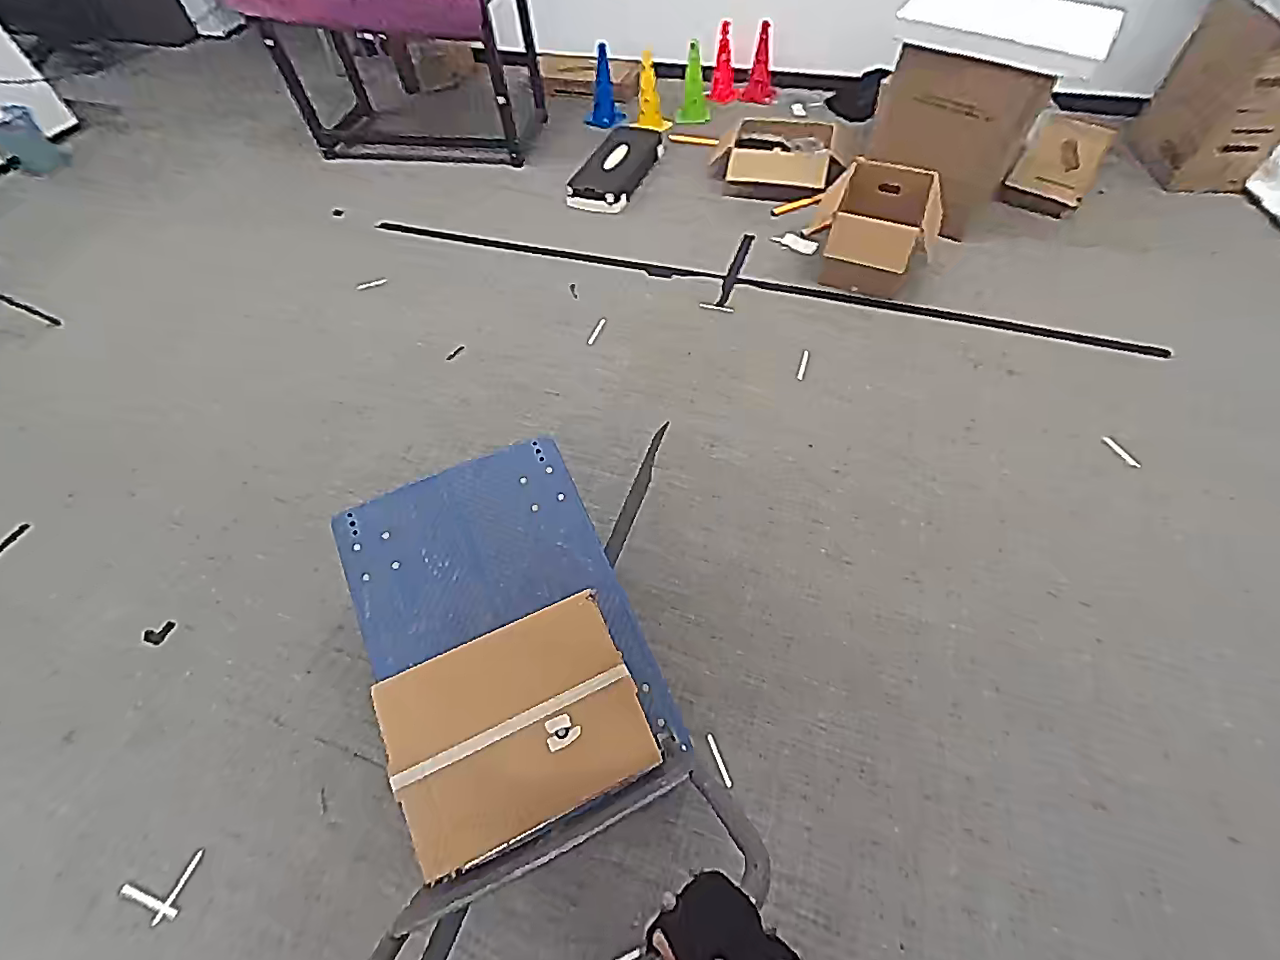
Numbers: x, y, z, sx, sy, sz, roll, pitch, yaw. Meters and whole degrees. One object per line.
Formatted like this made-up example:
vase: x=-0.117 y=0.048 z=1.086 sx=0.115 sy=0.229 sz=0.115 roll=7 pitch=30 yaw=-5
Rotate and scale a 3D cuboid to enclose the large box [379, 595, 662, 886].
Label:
large box: x=-0.215 y=0.476 z=1.055 sx=0.408 sy=0.320 sz=0.320 roll=-23 pitch=73 yaw=-13
